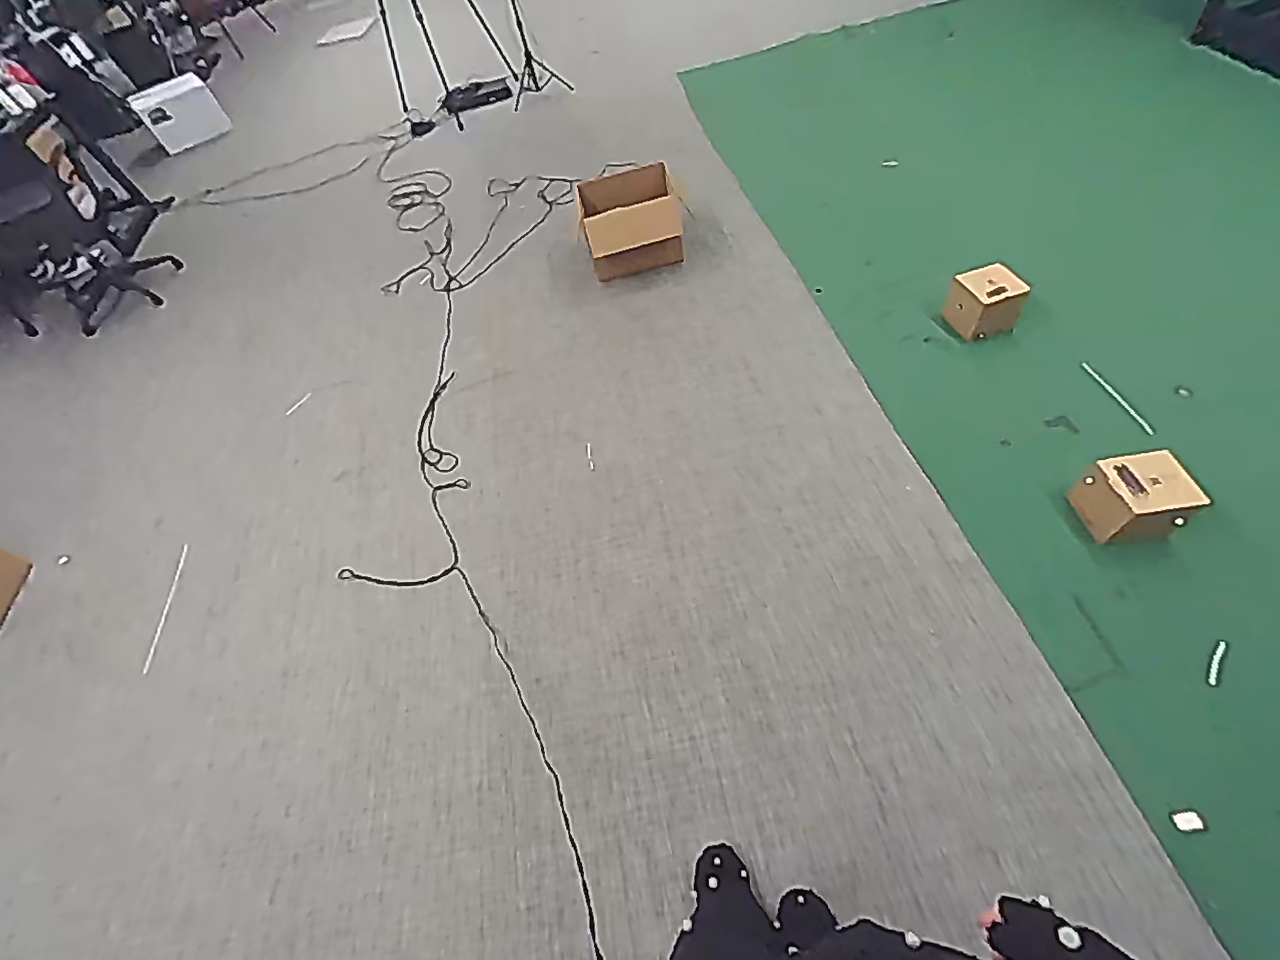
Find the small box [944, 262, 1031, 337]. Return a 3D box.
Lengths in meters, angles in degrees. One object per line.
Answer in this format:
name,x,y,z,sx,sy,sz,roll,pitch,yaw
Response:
small box,1.197,-0.618,1.876,0.168,0.176,0.179,-17,53,0
